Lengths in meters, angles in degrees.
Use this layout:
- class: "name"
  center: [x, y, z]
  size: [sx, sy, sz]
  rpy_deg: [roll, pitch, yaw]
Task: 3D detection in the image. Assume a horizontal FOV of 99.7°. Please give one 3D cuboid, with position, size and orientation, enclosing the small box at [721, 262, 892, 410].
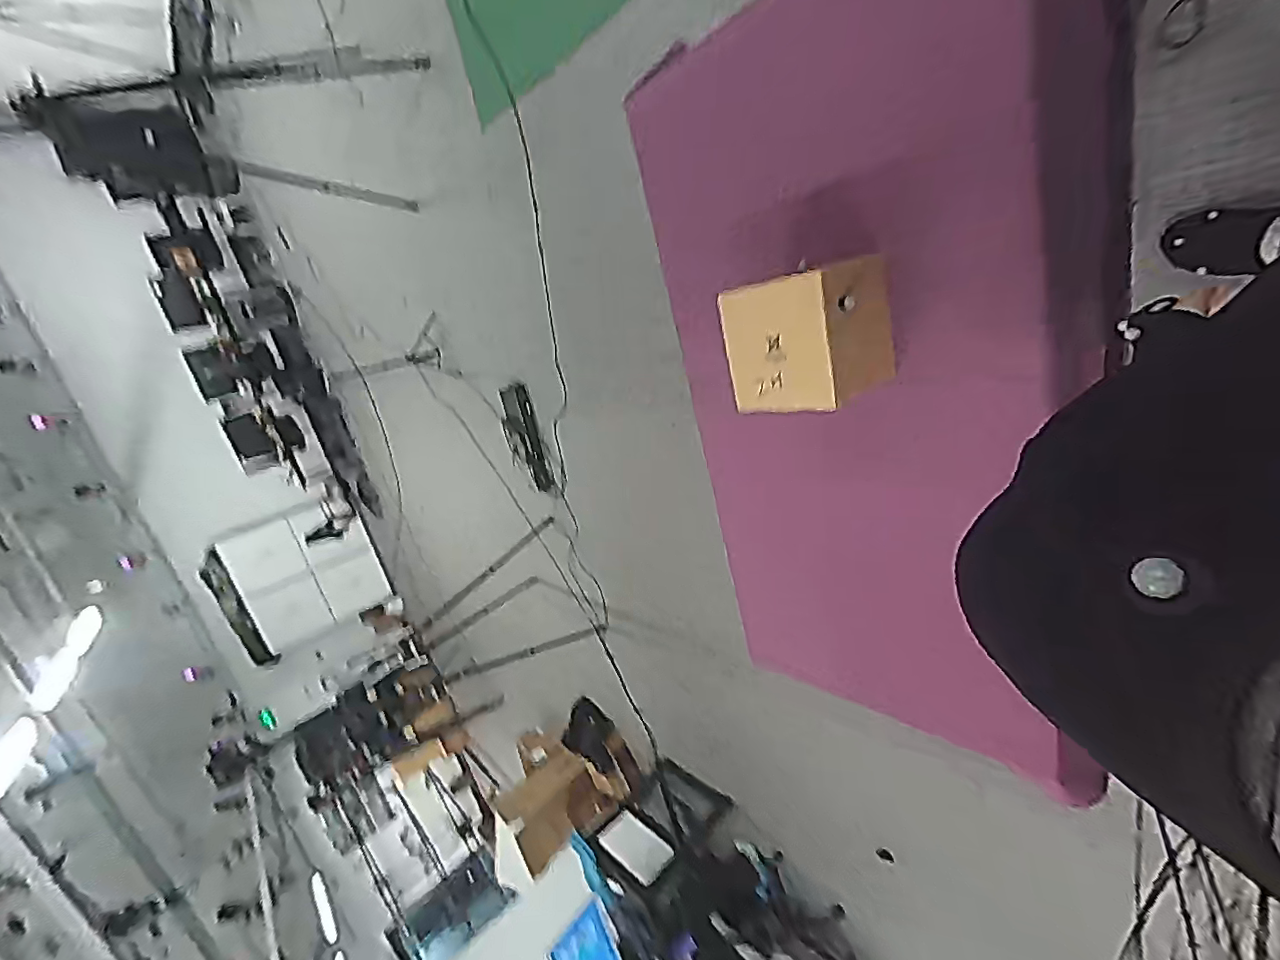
- class: "small box"
  center: [0.246, -0.209, 0.789]
  size: [0.168, 0.176, 0.179]
  rpy_deg: [8, 118, 50]
